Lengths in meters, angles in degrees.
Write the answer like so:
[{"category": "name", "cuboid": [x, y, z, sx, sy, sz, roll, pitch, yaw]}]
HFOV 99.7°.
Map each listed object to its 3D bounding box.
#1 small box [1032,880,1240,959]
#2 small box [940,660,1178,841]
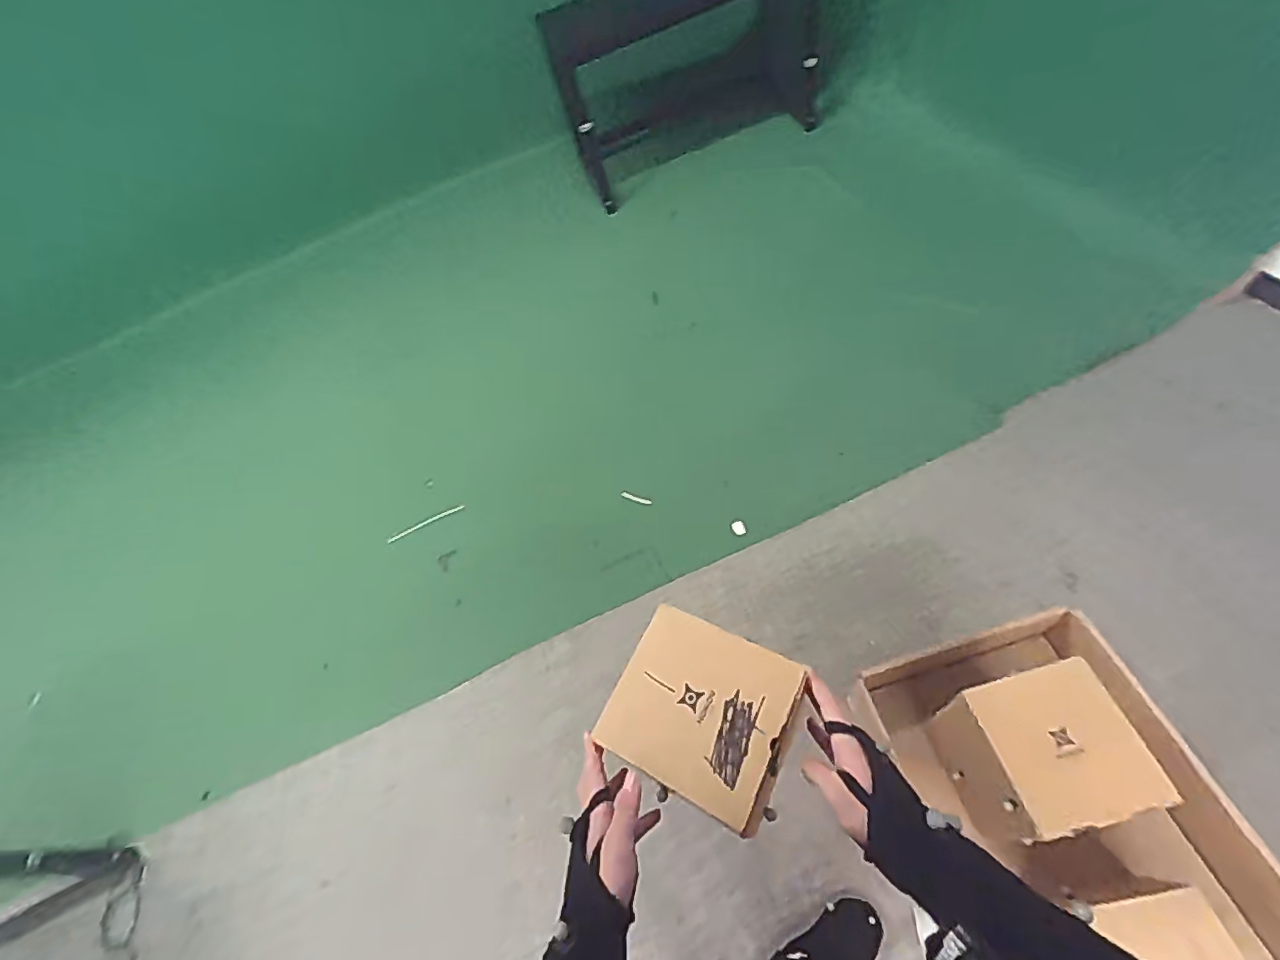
[{"category": "small box", "cuboid": [0.668, 0.656, 0.724, 0.179, 0.176, 0.168, -17, 56, 7]}, {"category": "small box", "cuboid": [0.546, 0.373, 0.742, 0.168, 0.176, 0.179, -19, 57, 5]}]
